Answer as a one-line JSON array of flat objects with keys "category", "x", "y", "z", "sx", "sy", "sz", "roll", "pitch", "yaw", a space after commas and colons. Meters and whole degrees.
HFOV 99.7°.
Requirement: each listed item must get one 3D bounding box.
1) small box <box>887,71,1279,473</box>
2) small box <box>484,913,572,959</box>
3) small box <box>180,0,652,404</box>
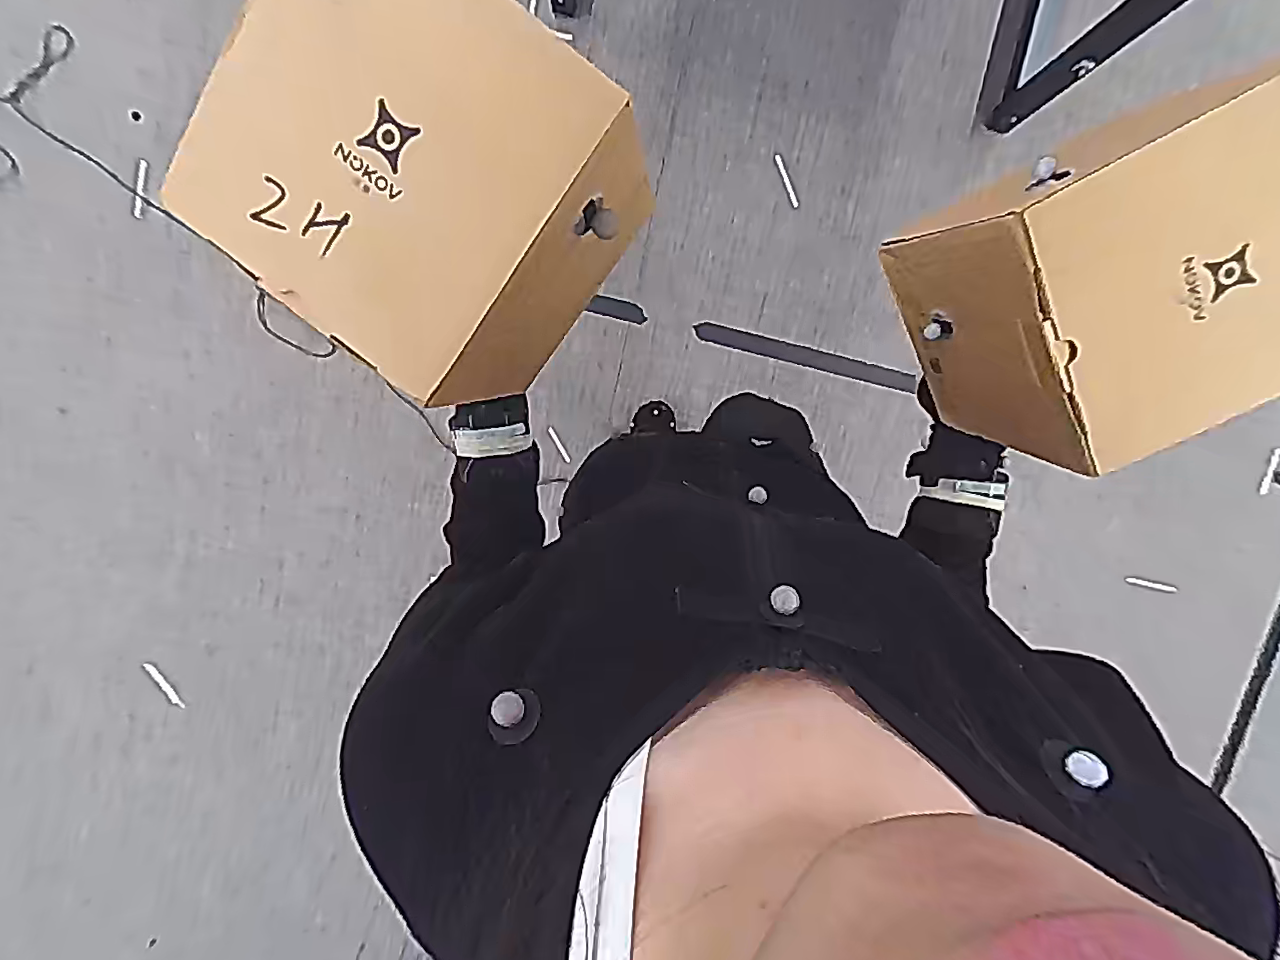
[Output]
[{"category": "small box", "x": 0.308, "y": -0.134, "z": 0.369, "sx": 0.179, "sy": 0.176, "sz": 0.168, "roll": -27, "pitch": 106, "yaw": 8}, {"category": "small box", "x": -0.228, "y": 1.004, "z": 1.067, "sx": 0.168, "sy": 0.176, "sz": 0.179, "roll": 5, "pitch": 98, "yaw": -2}, {"category": "small box", "x": -0.105, "y": -0.170, "z": 0.331, "sx": 0.168, "sy": 0.176, "sz": 0.179, "roll": 38, "pitch": 104, "yaw": -3}]
